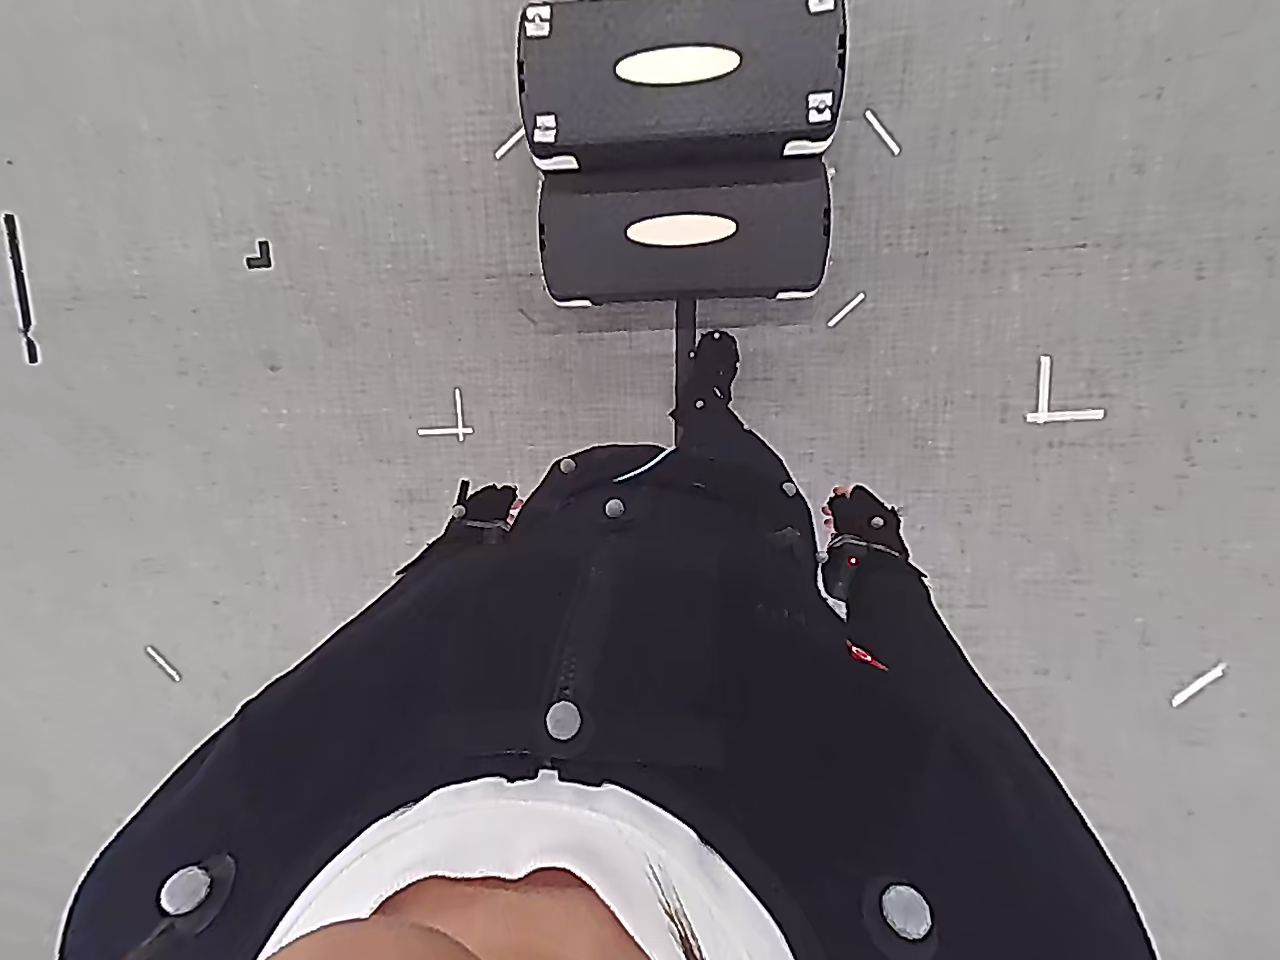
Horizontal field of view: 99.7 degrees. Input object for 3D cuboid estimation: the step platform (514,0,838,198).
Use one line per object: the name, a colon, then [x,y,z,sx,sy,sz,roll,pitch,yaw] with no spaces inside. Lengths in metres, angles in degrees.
step platform: [0.072,-0.822,1.187,0.684,0.204,0.286,-1,100,5]
